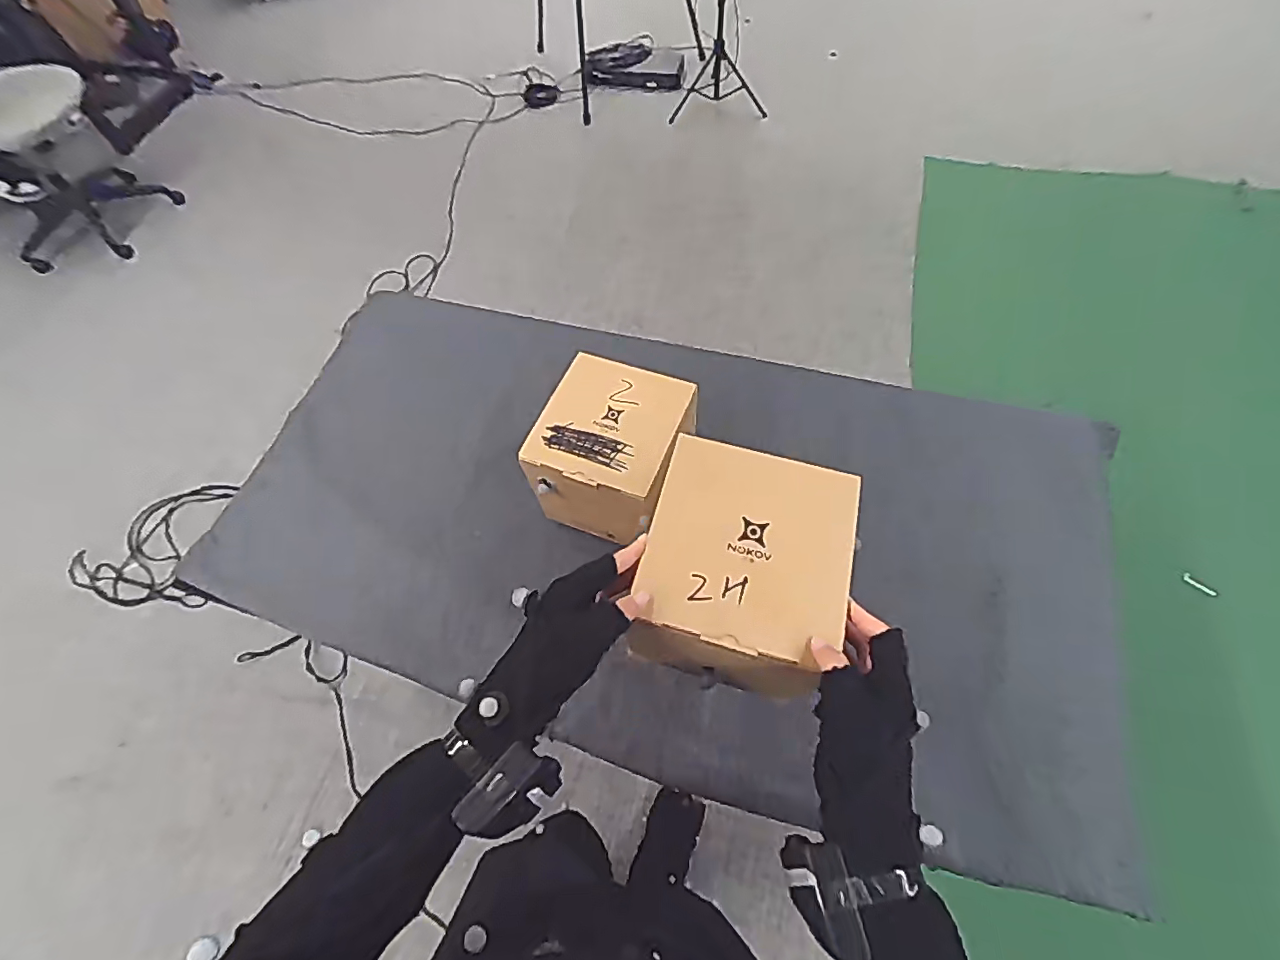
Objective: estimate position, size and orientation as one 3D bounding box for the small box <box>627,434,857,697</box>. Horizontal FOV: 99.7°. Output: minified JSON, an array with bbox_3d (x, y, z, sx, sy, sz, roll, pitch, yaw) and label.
[{"bbox_3d":[0.089,0.088,0.517,0.168,0.176,0.179,15,62,8],"label":"small box"}]
